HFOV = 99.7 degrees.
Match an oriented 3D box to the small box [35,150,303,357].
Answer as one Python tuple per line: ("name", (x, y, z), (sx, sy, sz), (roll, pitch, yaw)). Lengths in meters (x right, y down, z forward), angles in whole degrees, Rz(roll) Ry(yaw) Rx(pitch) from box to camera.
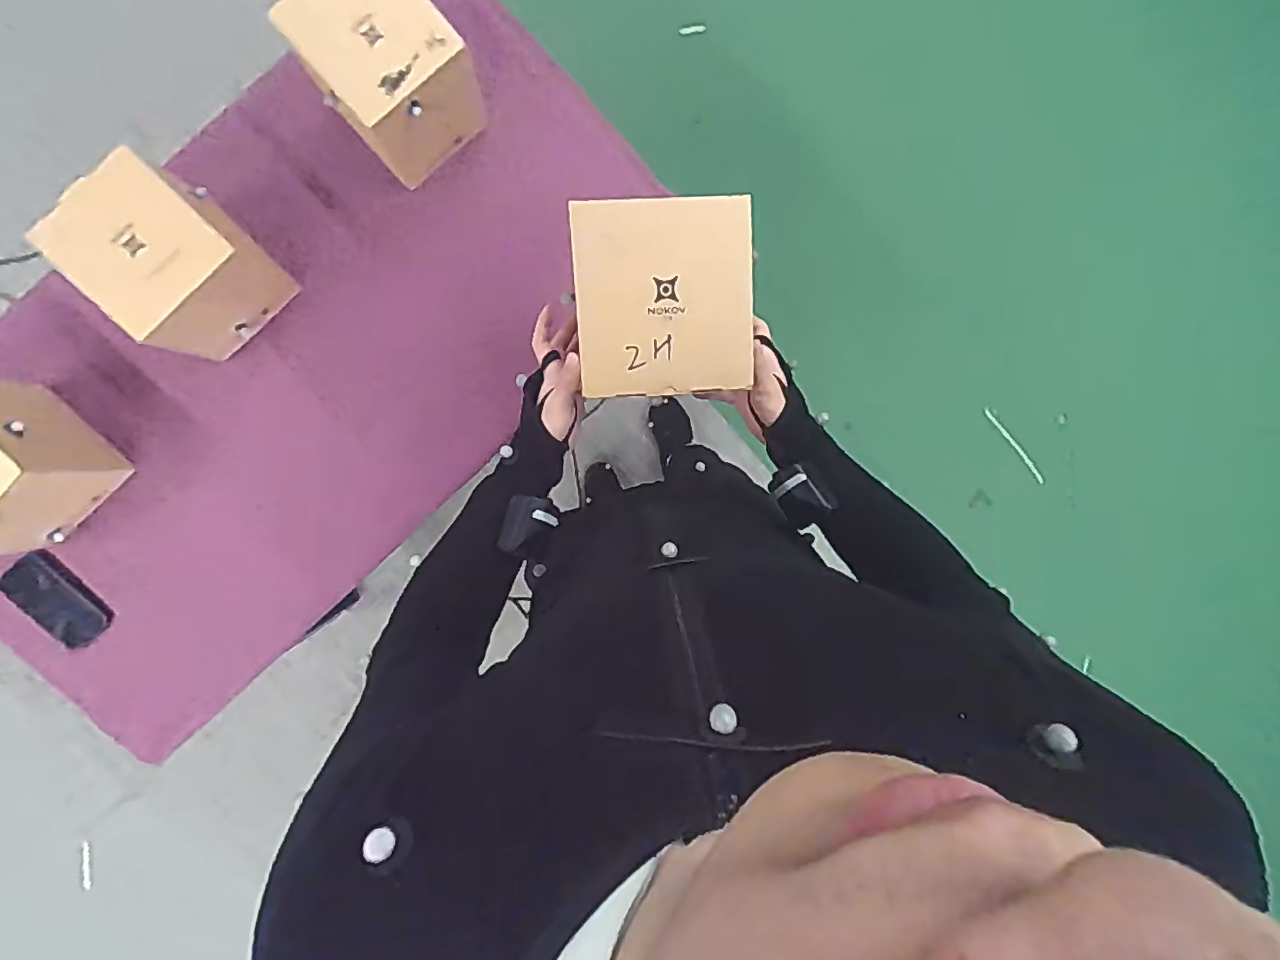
("small box", (-0.623, -0.291, 0.743), (0.168, 0.176, 0.179), (-45, 96, -1))

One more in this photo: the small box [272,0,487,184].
("small box", (-0.343, -0.561, 0.751), (0.168, 0.176, 0.179), (-43, 95, -1))

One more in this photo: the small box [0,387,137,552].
("small box", (-0.864, -0.016, 0.735), (0.168, 0.176, 0.179), (-45, 95, -2))

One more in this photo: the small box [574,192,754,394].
("small box", (0.019, -0.183, 0.573), (0.168, 0.176, 0.179), (-3, 101, -2))
